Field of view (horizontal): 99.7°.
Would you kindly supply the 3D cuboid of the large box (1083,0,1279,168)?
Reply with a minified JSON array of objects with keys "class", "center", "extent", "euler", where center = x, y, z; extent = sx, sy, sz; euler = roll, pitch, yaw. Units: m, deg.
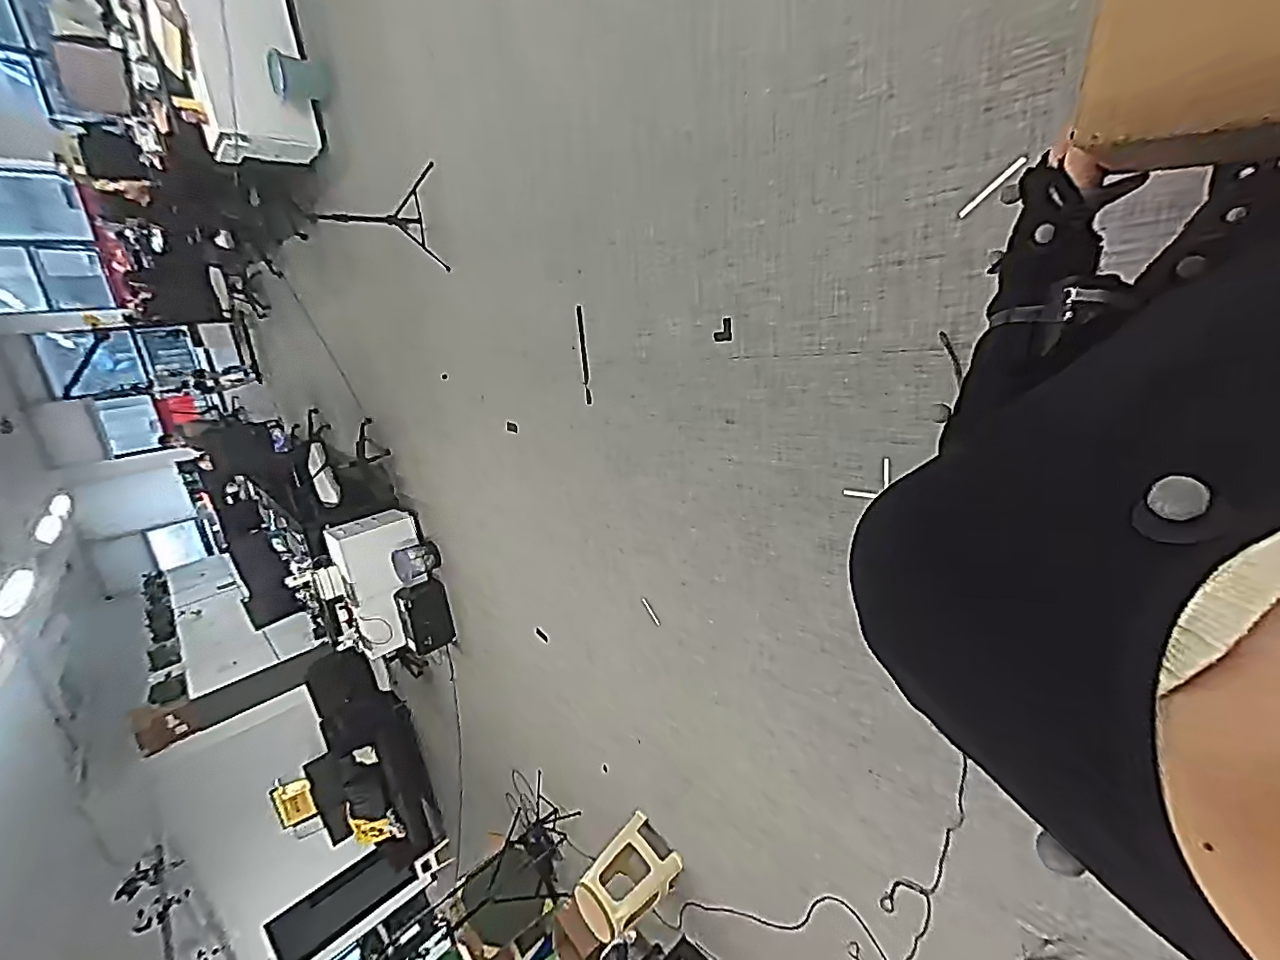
[{"class":"large box","center":[0.431,-0.314,0.173],"extent":[0.408,0.320,0.320],"euler":[14,120,37]}]
